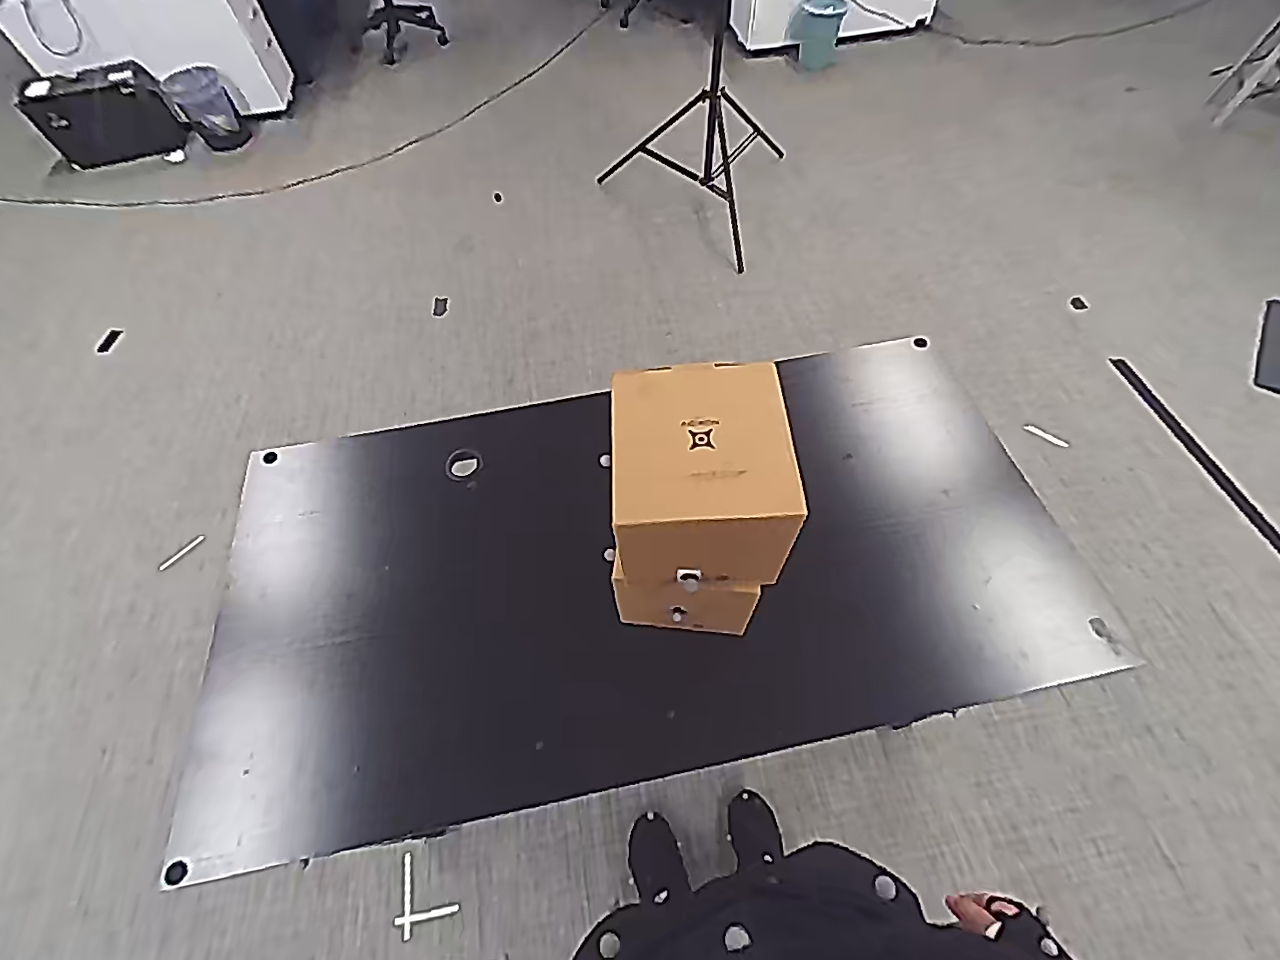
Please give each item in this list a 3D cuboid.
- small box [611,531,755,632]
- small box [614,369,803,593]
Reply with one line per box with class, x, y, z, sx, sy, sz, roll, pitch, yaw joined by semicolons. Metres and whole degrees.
small box;0.062;0.090;0.715;0.168;0.176;0.179;5;59;5
small box;0.060;0.006;0.575;0.168;0.176;0.179;-4;59;2
